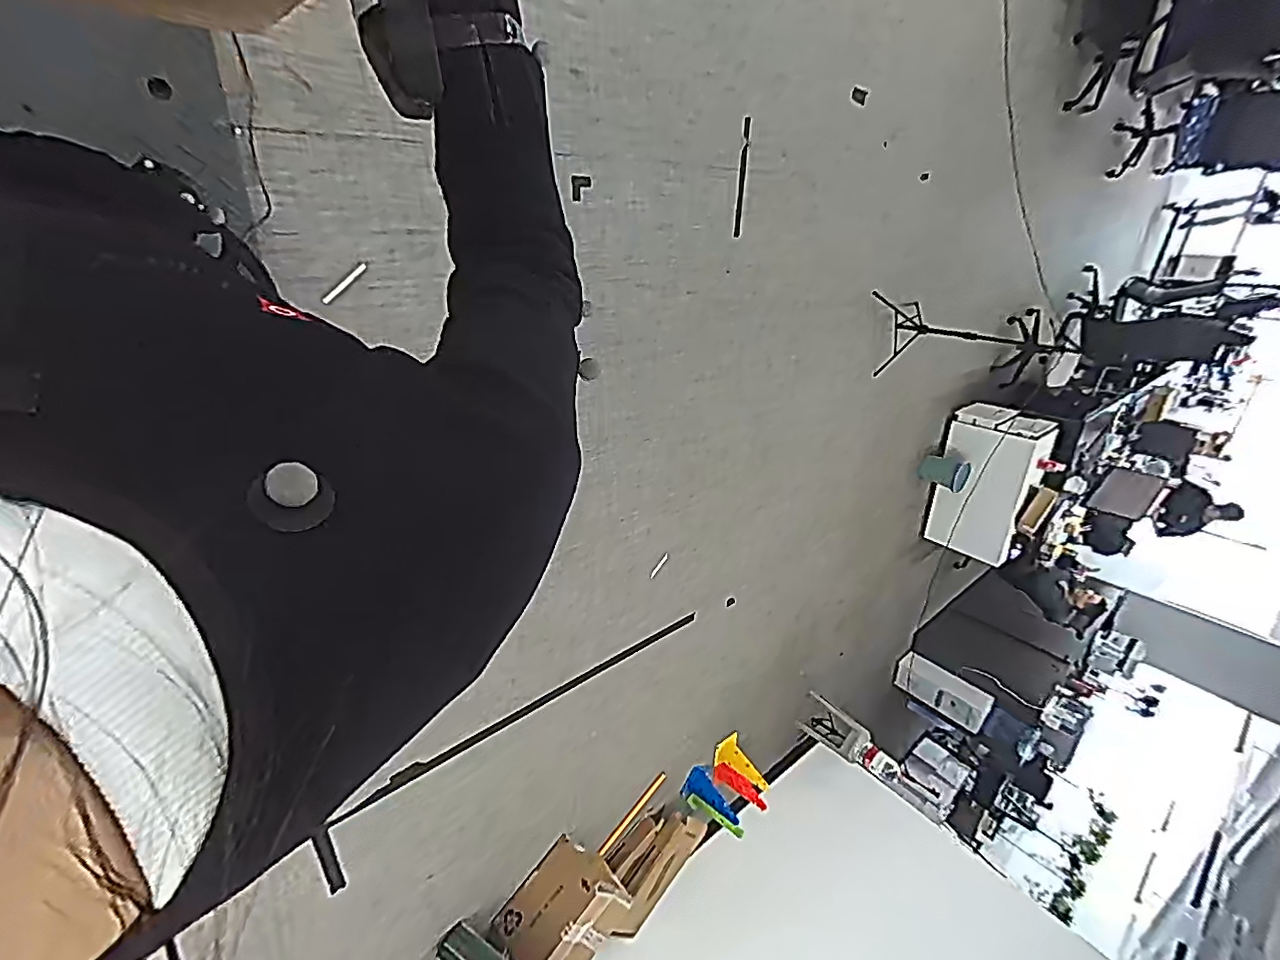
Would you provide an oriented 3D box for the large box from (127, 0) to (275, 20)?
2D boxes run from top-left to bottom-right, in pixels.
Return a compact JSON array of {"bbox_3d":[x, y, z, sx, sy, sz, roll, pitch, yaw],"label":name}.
[{"bbox_3d":[-0.386,-0.412,0.190,0.408,0.320,0.320,-20,129,-35],"label":"large box"}]
